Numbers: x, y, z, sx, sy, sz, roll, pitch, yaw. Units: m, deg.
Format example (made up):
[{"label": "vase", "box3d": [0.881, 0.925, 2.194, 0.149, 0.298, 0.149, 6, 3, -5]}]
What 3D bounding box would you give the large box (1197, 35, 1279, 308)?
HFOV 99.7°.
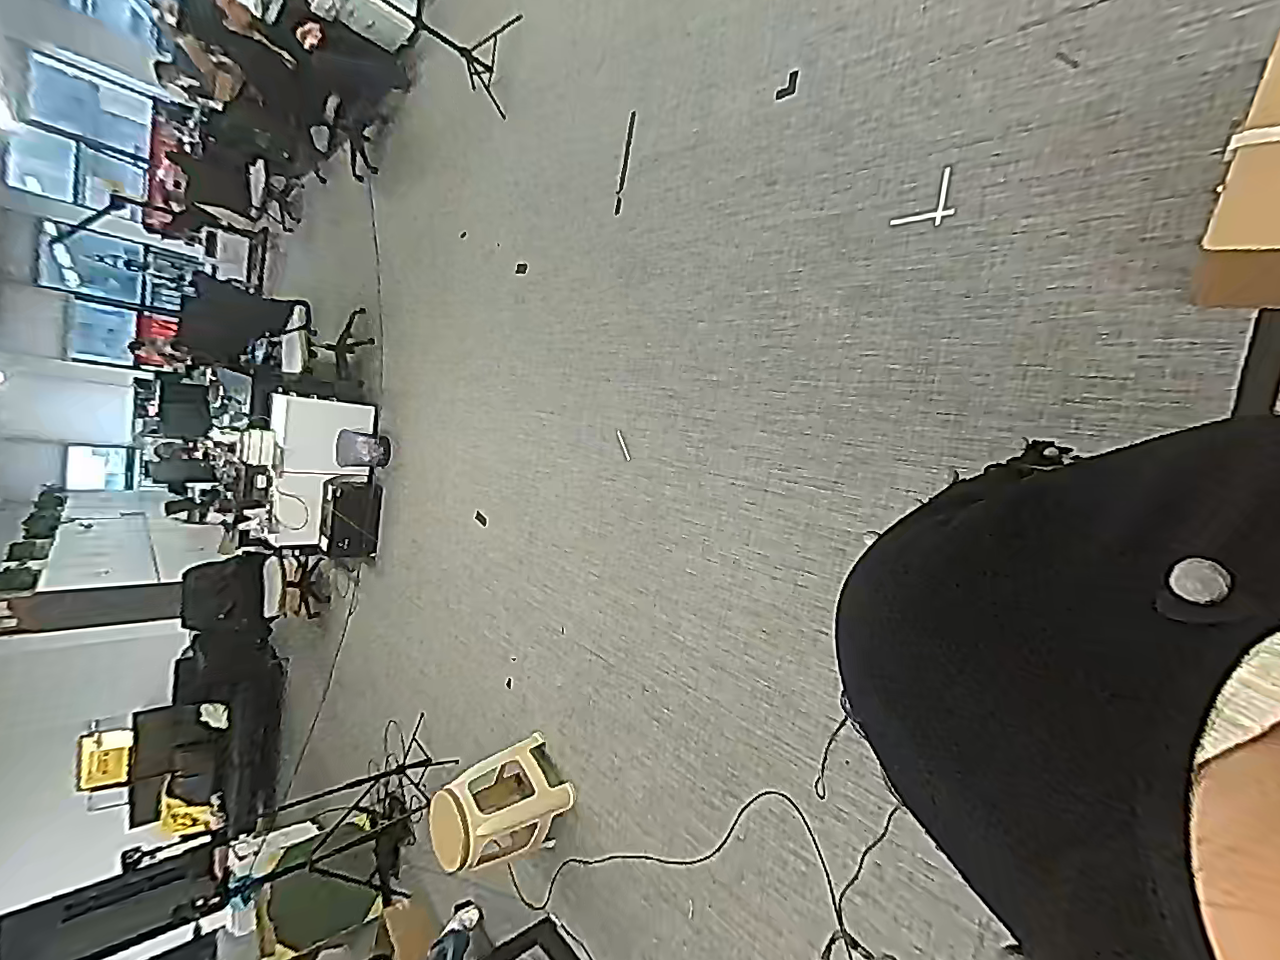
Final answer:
[{"label": "large box", "box3d": [1.102, -0.430, 0.747, 0.408, 0.320, 0.320, 21, 103, 43]}]
